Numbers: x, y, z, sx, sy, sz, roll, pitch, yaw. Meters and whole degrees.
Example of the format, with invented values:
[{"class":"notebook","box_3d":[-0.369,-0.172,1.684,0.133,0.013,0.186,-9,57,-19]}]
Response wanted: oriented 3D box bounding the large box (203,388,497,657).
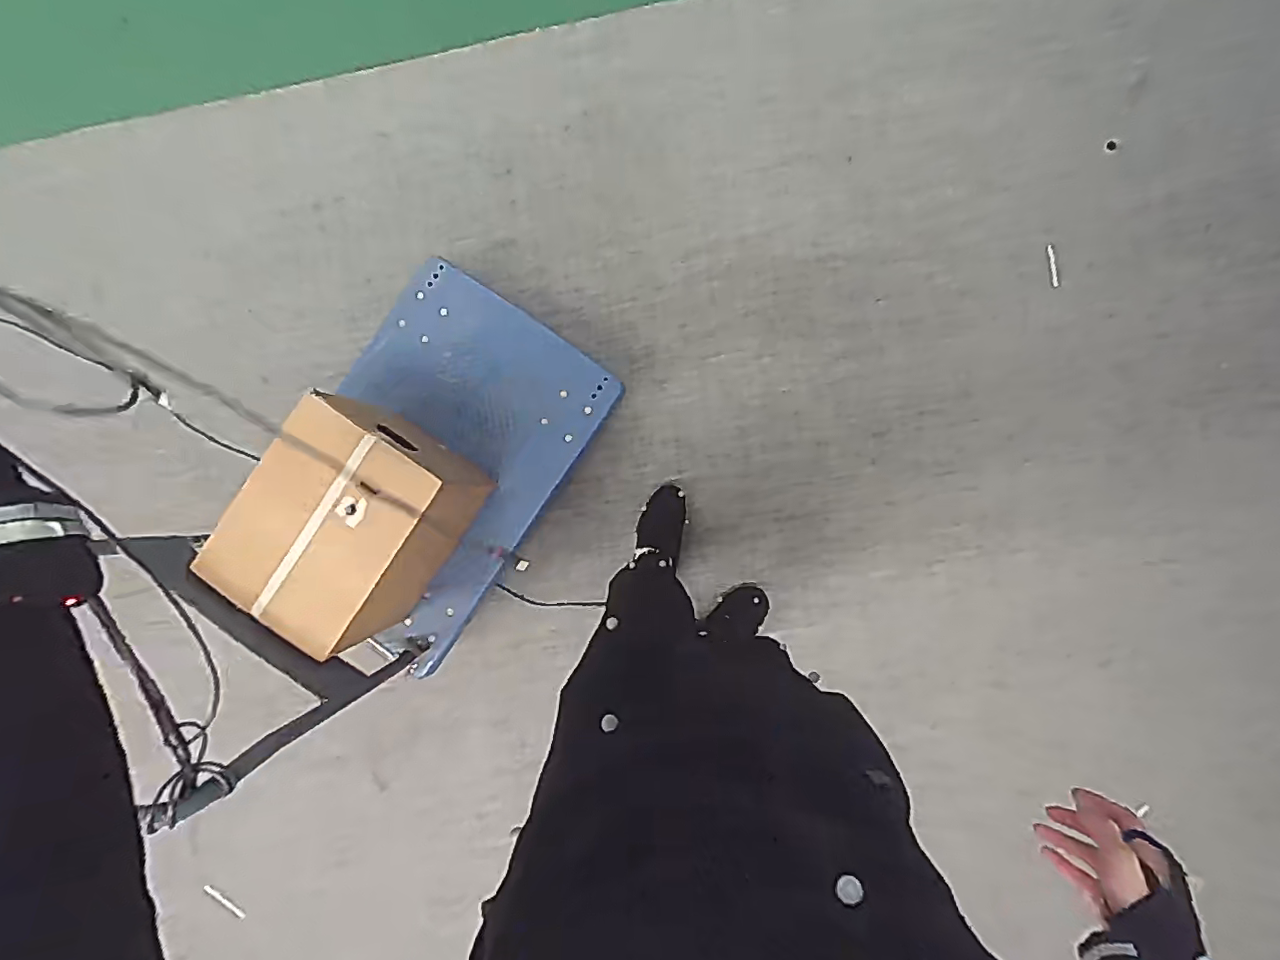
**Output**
[{"class":"large box","box_3d":[-0.573,0.084,1.138,0.320,0.320,0.408,34,90,3]}]
